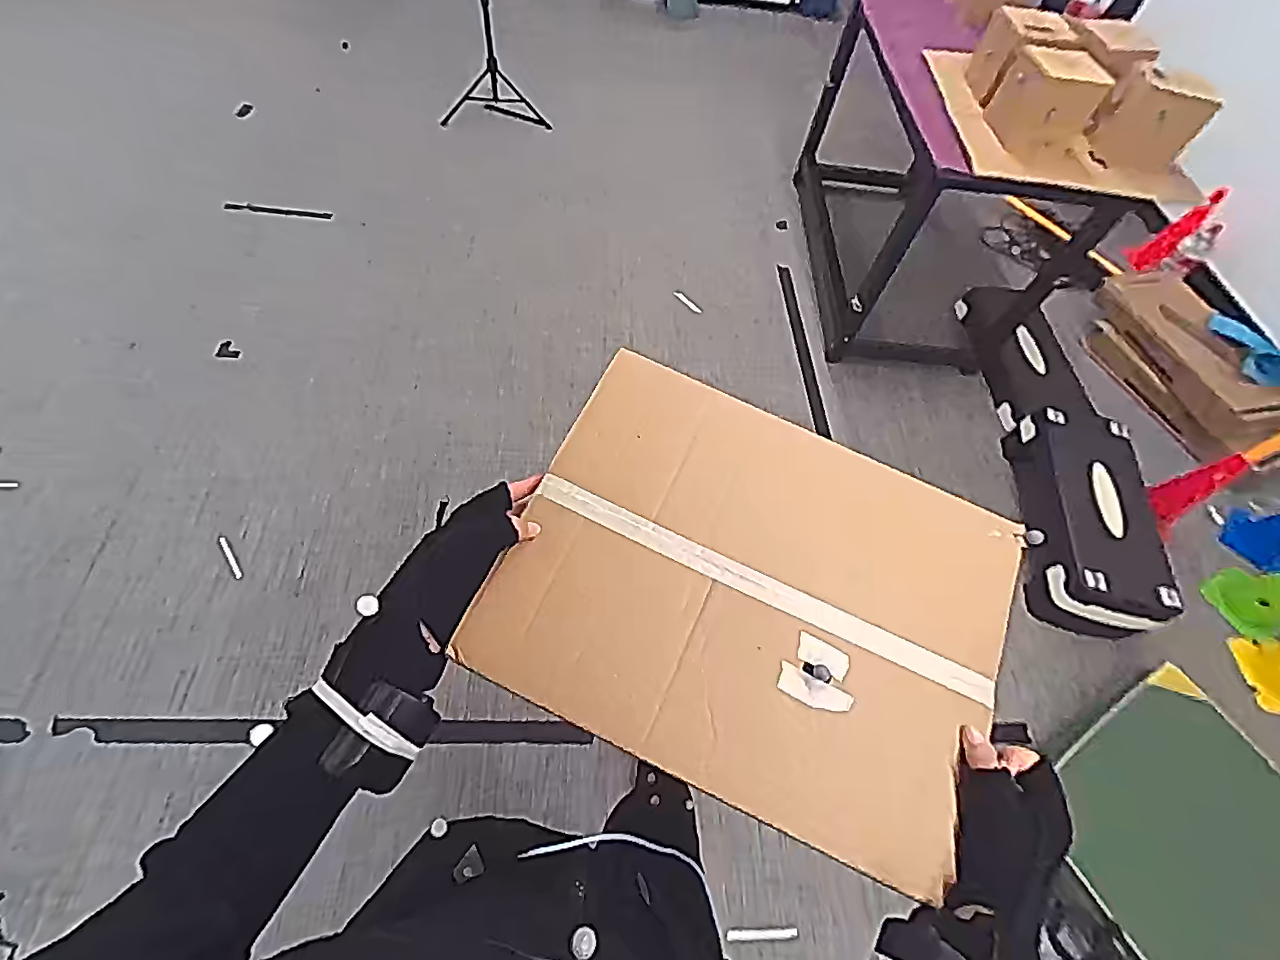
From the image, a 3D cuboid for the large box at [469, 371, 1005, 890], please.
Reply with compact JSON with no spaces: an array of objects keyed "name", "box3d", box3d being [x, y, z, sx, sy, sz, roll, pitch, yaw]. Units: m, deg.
[{"name":"large box","box3d":[0.088,0.150,0.604,0.408,0.320,0.320,26,70,4]}]
